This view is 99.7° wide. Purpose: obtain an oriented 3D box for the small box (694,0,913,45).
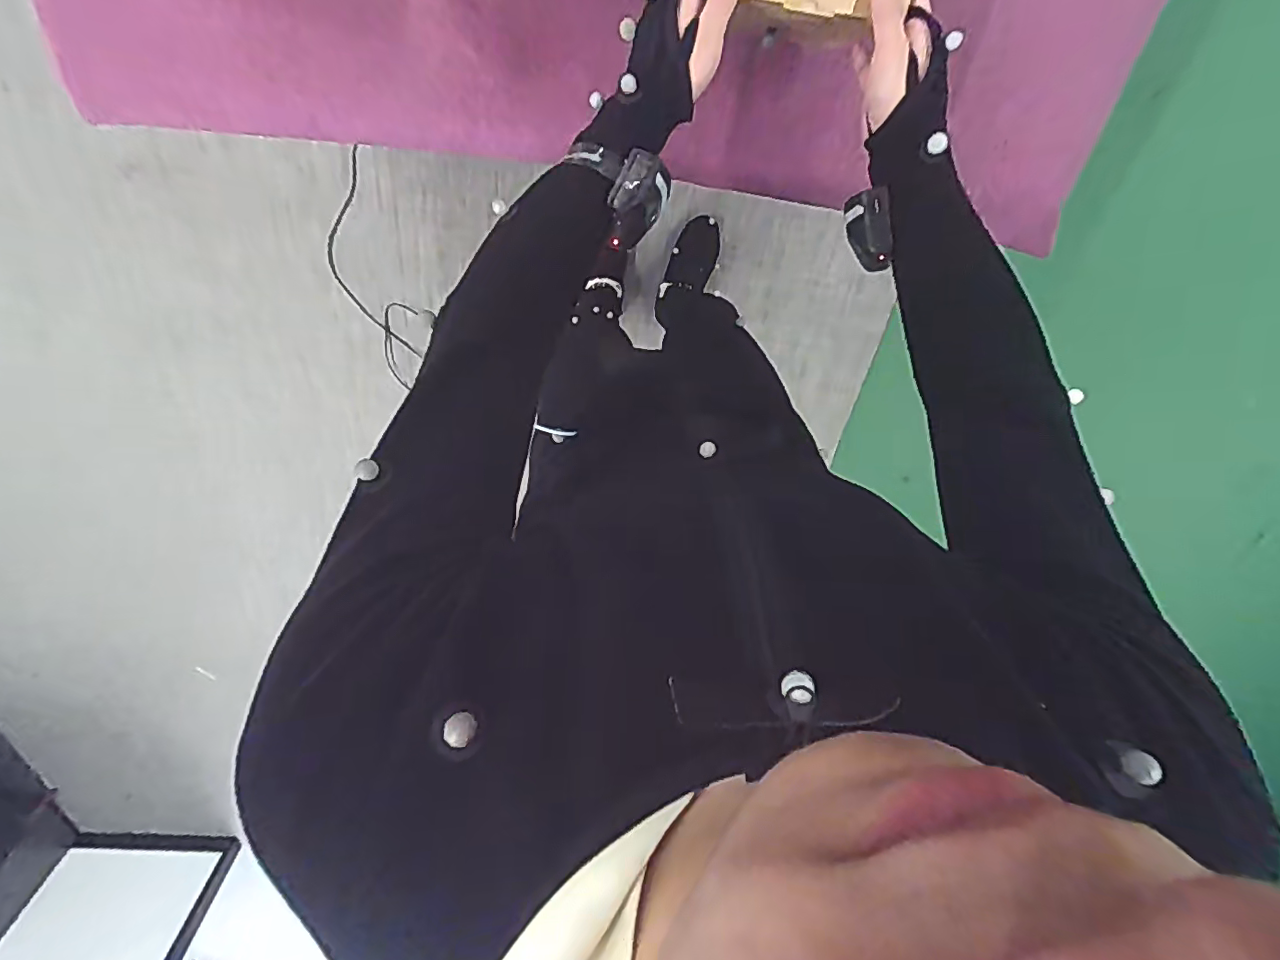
[{"bbox_3d":[0.146,-0.499,0.457,0.168,0.176,0.179,4,124,-7],"label":"small box"}]
